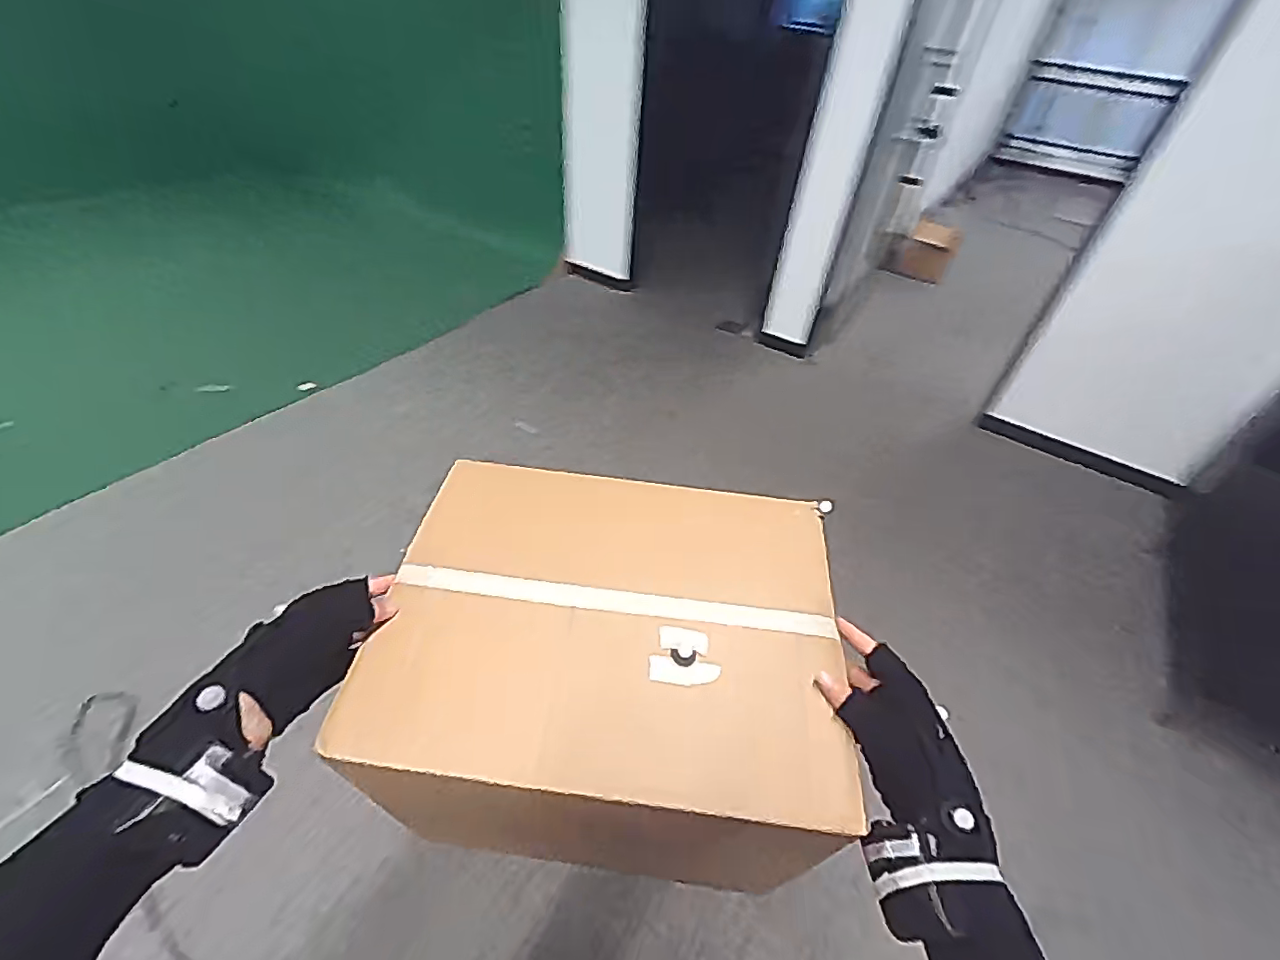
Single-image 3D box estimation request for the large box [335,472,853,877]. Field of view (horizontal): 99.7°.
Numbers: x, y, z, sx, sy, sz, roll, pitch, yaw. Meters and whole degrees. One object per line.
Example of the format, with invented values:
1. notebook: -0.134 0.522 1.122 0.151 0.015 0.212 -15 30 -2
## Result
1. large box: -0.033 0.220 0.614 0.408 0.320 0.320 6 47 2
